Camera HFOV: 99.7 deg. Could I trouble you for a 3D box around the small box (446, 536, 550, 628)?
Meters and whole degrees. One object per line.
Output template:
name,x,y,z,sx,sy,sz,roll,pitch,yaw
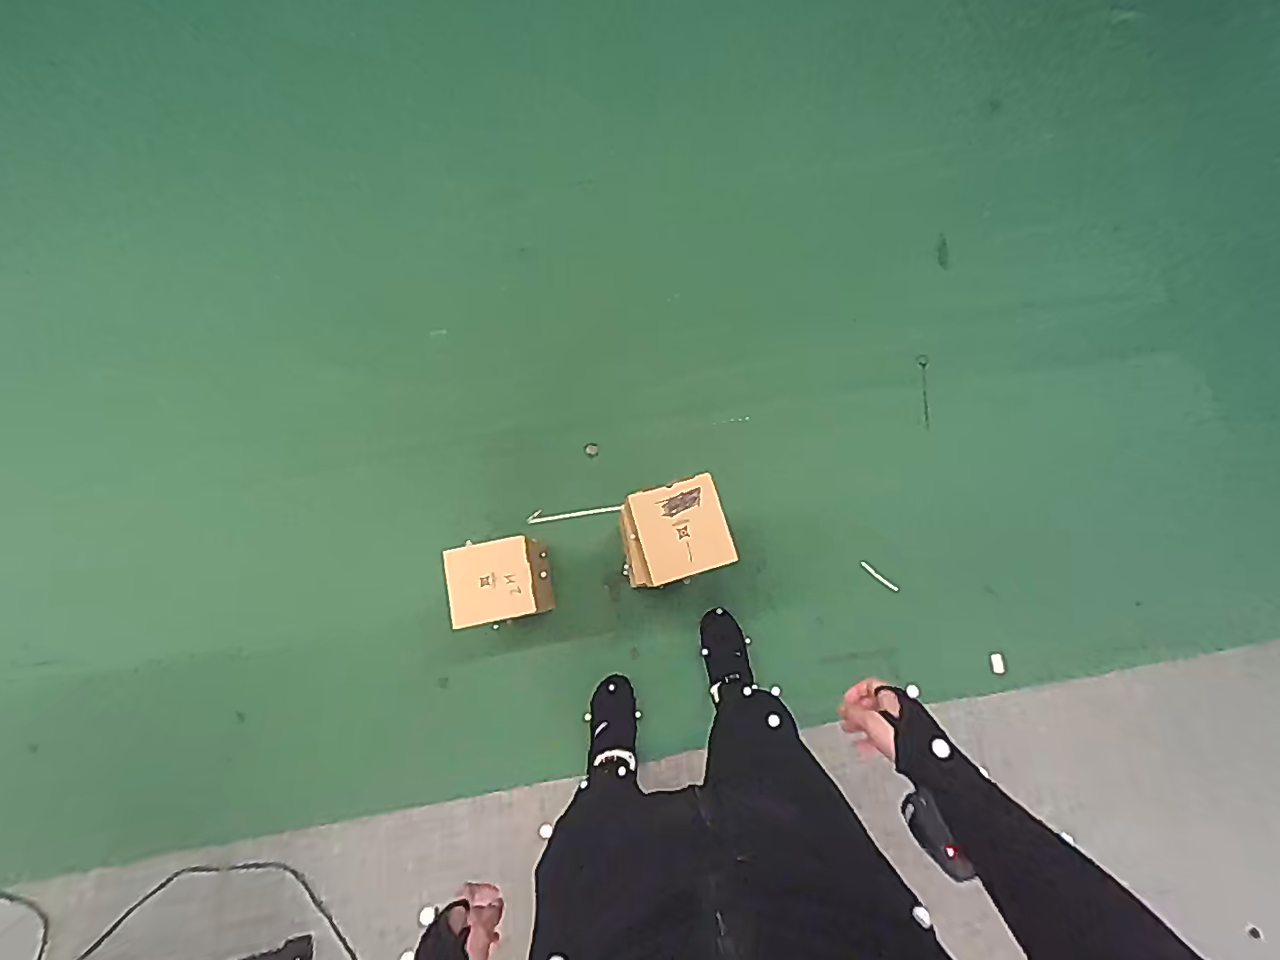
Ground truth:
small box,-0.309,0.228,1.201,0.179,0.176,0.168,-11,78,-4

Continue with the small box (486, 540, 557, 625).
small box,-0.311,0.258,1.363,0.168,0.176,0.179,-11,78,-3

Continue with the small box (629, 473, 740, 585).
small box,0.078,0.104,1.070,0.168,0.176,0.179,-16,81,-6

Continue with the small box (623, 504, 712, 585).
small box,0.057,0.139,1.229,0.168,0.176,0.179,-10,79,-5
